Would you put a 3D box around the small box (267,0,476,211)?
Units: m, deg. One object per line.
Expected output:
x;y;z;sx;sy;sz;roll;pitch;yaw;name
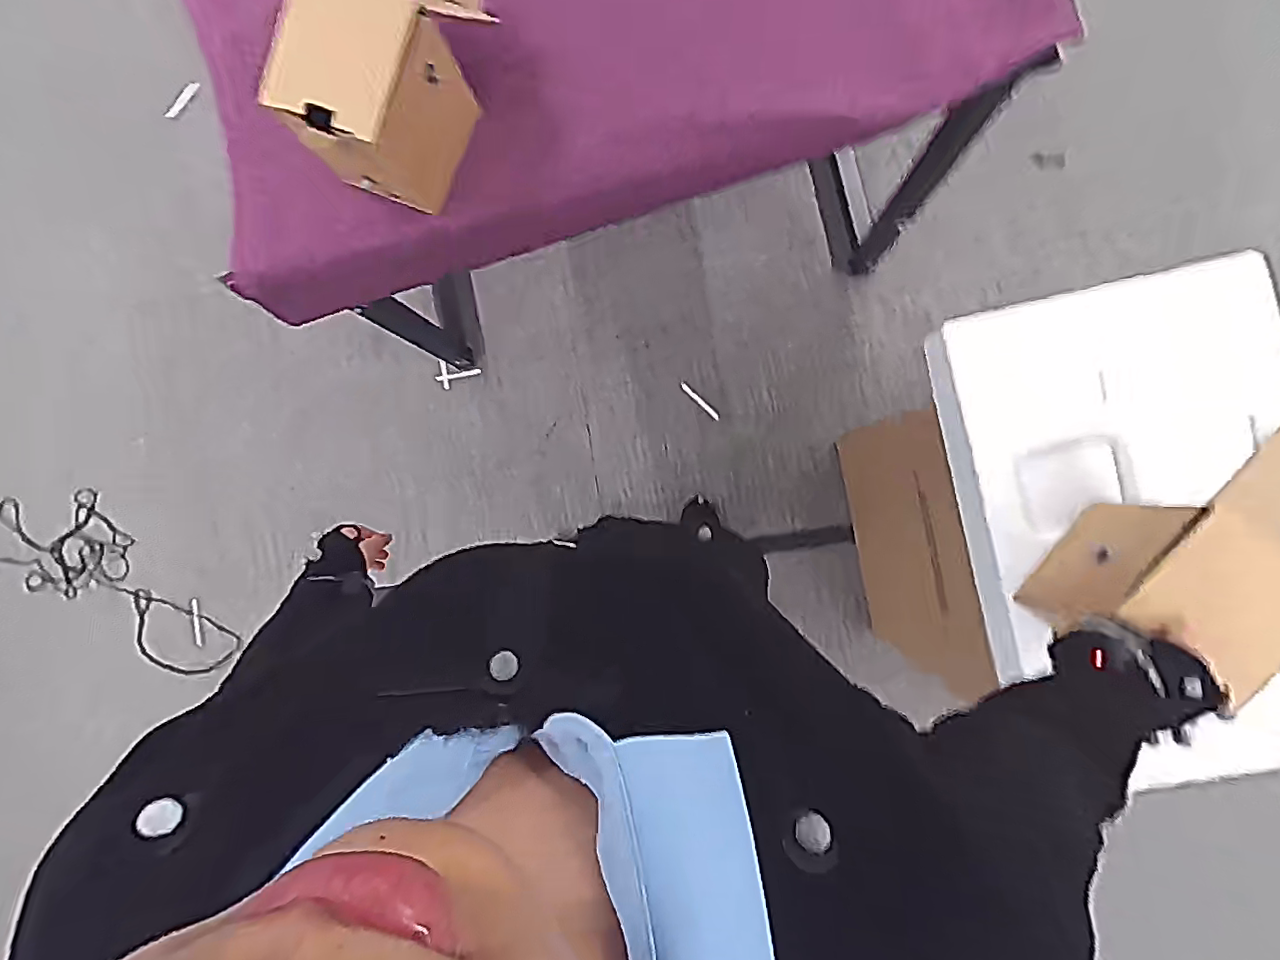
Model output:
-0.349;-0.515;0.742;0.168;0.176;0.179;23;90;7;small box
